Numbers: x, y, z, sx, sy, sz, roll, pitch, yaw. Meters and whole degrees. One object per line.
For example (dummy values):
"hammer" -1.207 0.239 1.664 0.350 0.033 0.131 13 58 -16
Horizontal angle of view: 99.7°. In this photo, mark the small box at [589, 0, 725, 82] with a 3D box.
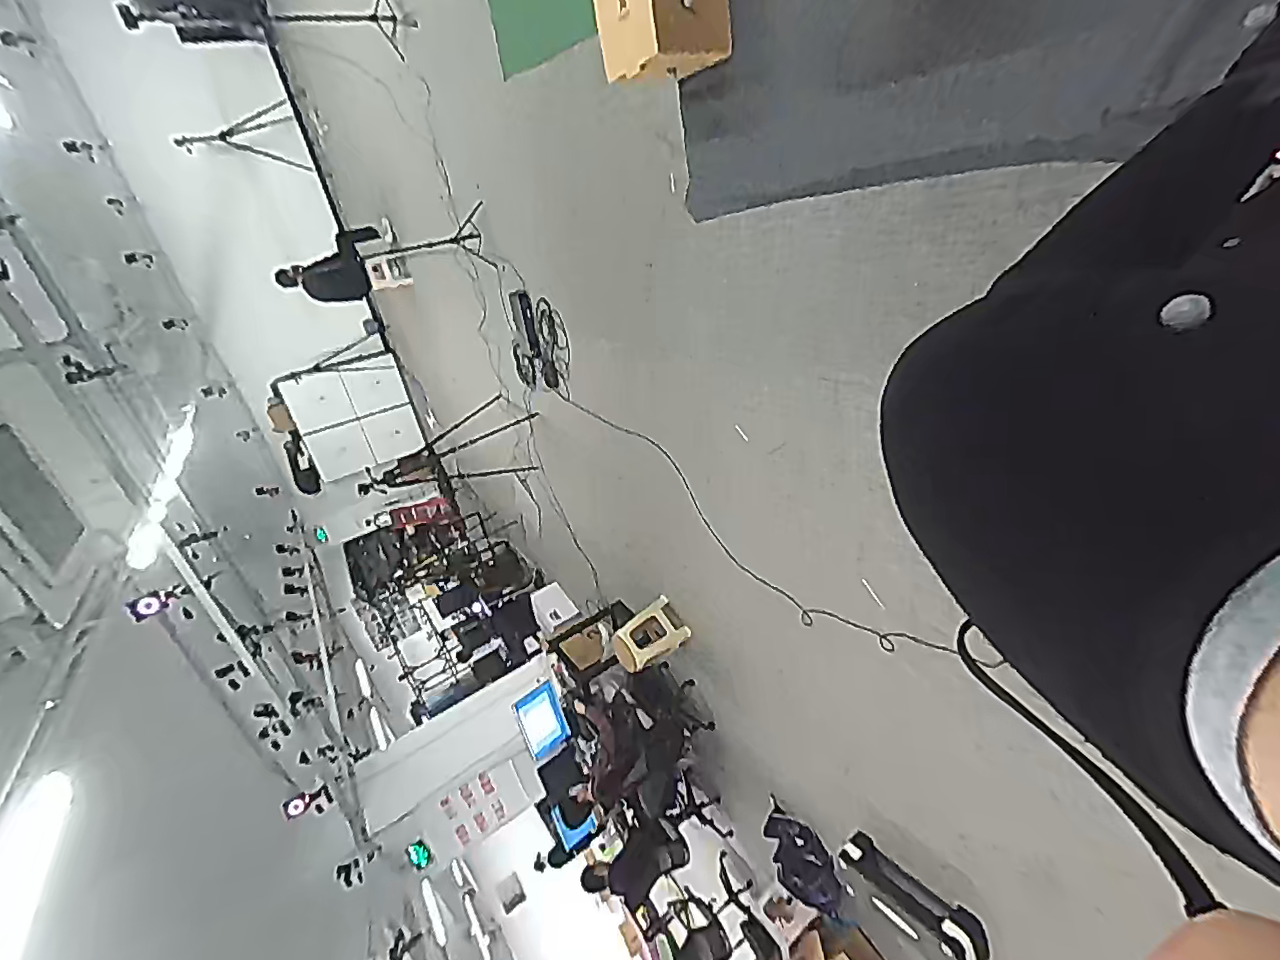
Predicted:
"small box" 0.029 -0.824 0.935 0.168 0.176 0.179 25 135 50
